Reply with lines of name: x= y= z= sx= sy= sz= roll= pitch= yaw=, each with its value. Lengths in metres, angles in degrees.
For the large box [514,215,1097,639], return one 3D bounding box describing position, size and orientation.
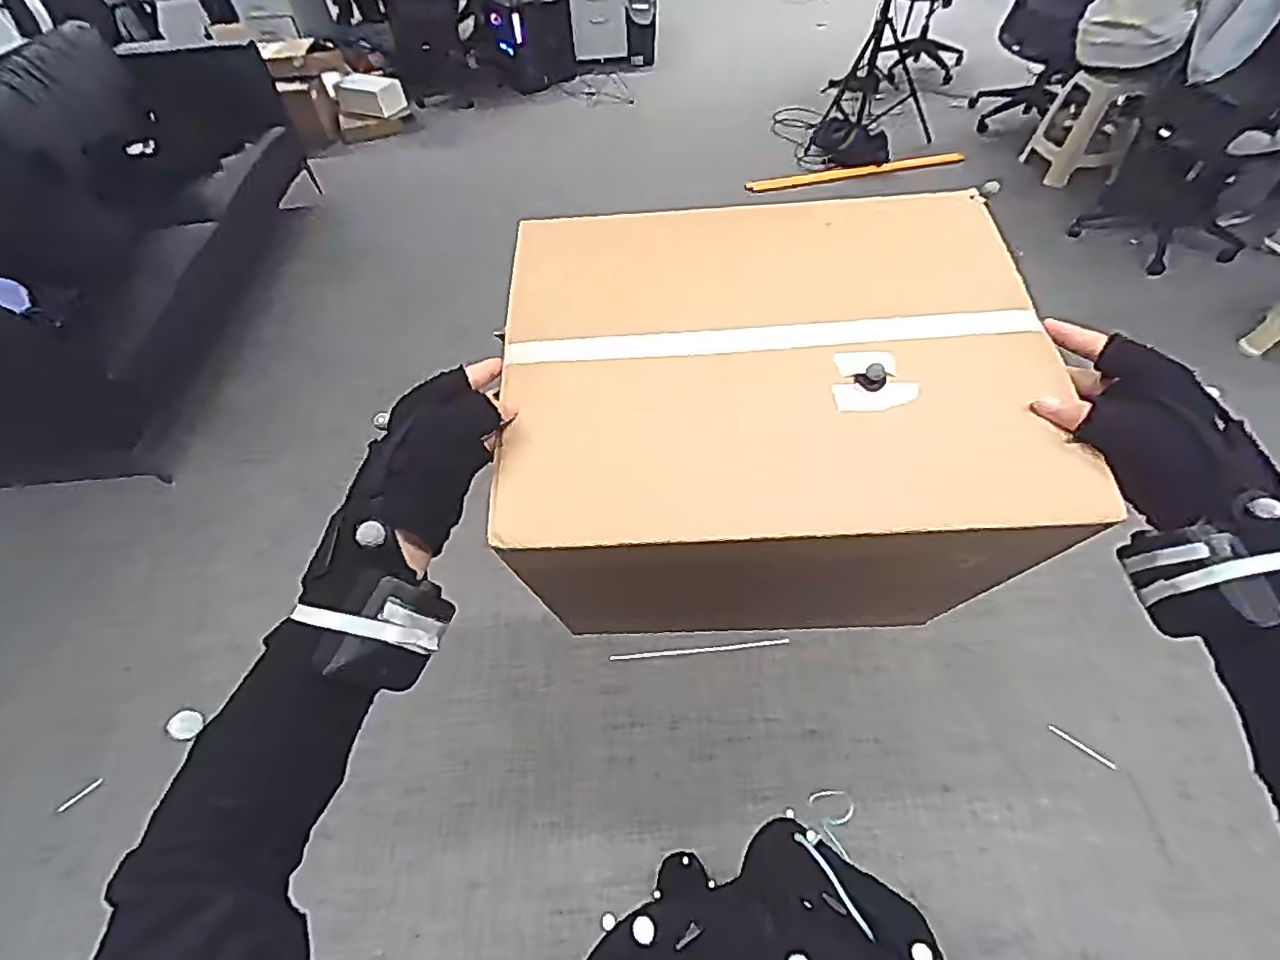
large box: x=0.109 y=-0.029 z=0.563 sx=0.408 sy=0.320 sz=0.320 roll=-3 pitch=63 yaw=1
